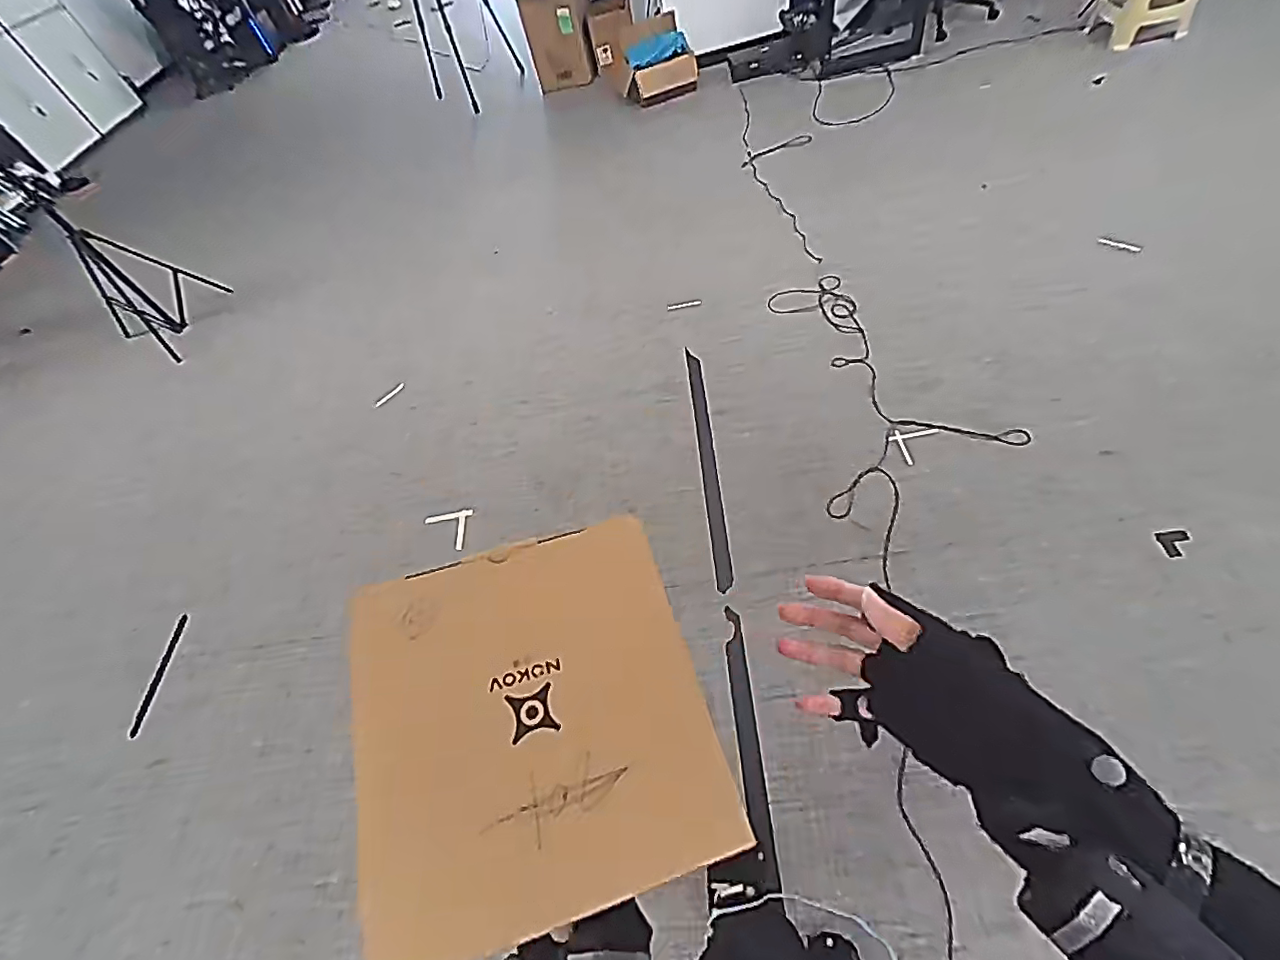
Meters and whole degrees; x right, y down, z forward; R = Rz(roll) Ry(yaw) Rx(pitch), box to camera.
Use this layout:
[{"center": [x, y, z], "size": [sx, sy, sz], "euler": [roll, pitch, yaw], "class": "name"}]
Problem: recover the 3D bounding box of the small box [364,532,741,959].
[{"center": [-0.058, 0.163, 0.345], "size": [0.168, 0.176, 0.179], "euler": [-14, 58, -11], "class": "small box"}]
